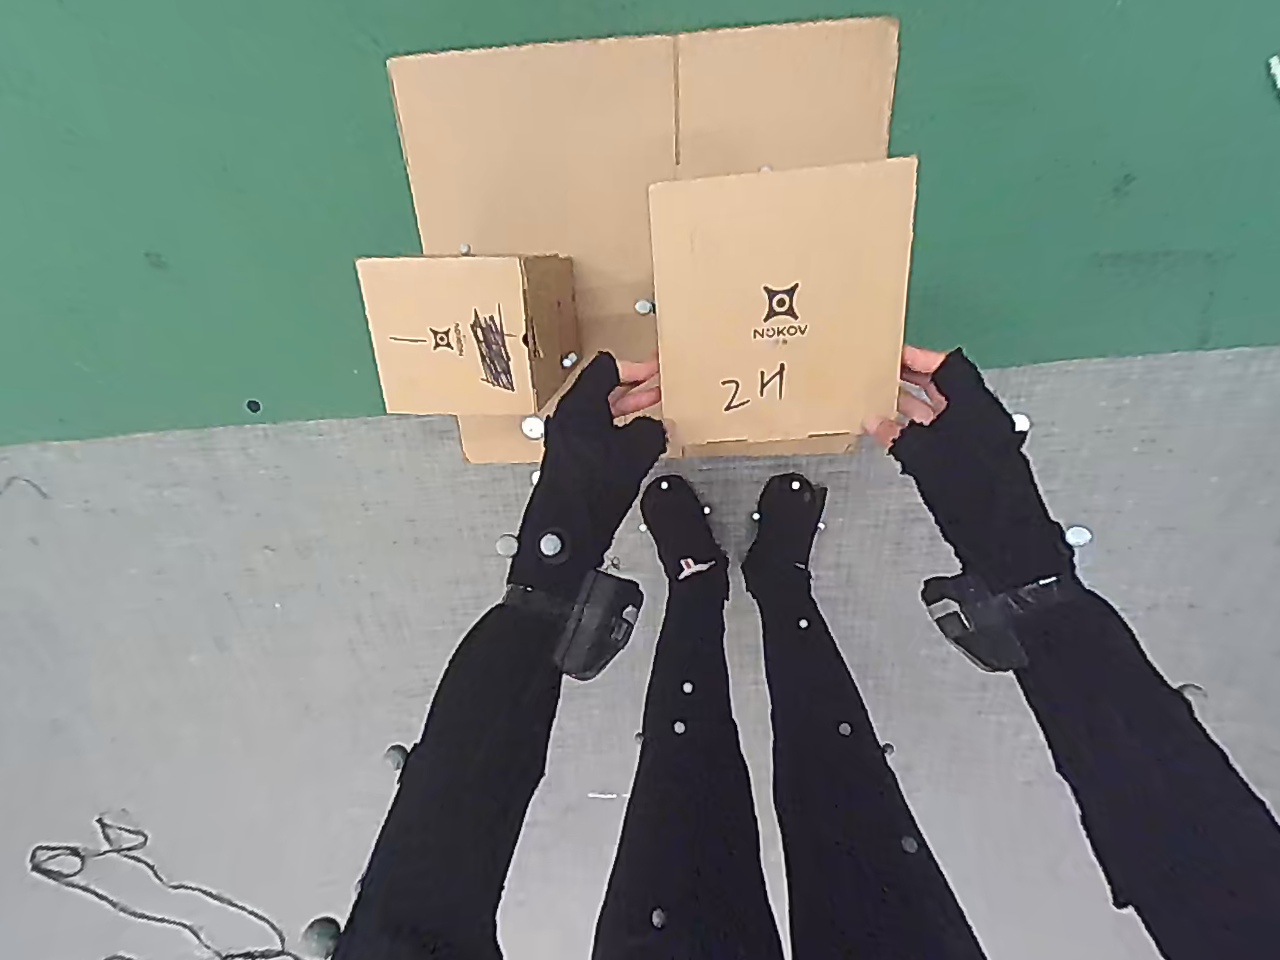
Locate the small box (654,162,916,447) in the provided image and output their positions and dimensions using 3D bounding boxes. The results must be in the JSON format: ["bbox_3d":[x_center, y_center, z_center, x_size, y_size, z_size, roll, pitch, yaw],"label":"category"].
[{"bbox_3d":[0.097,-0.136,0.437,0.168,0.176,0.179,-3,111,4],"label":"small box"}]

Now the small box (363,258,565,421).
[{"bbox_3d":[-0.190,-0.175,0.647,0.179,0.176,0.168,2,113,5],"label":"small box"}]
